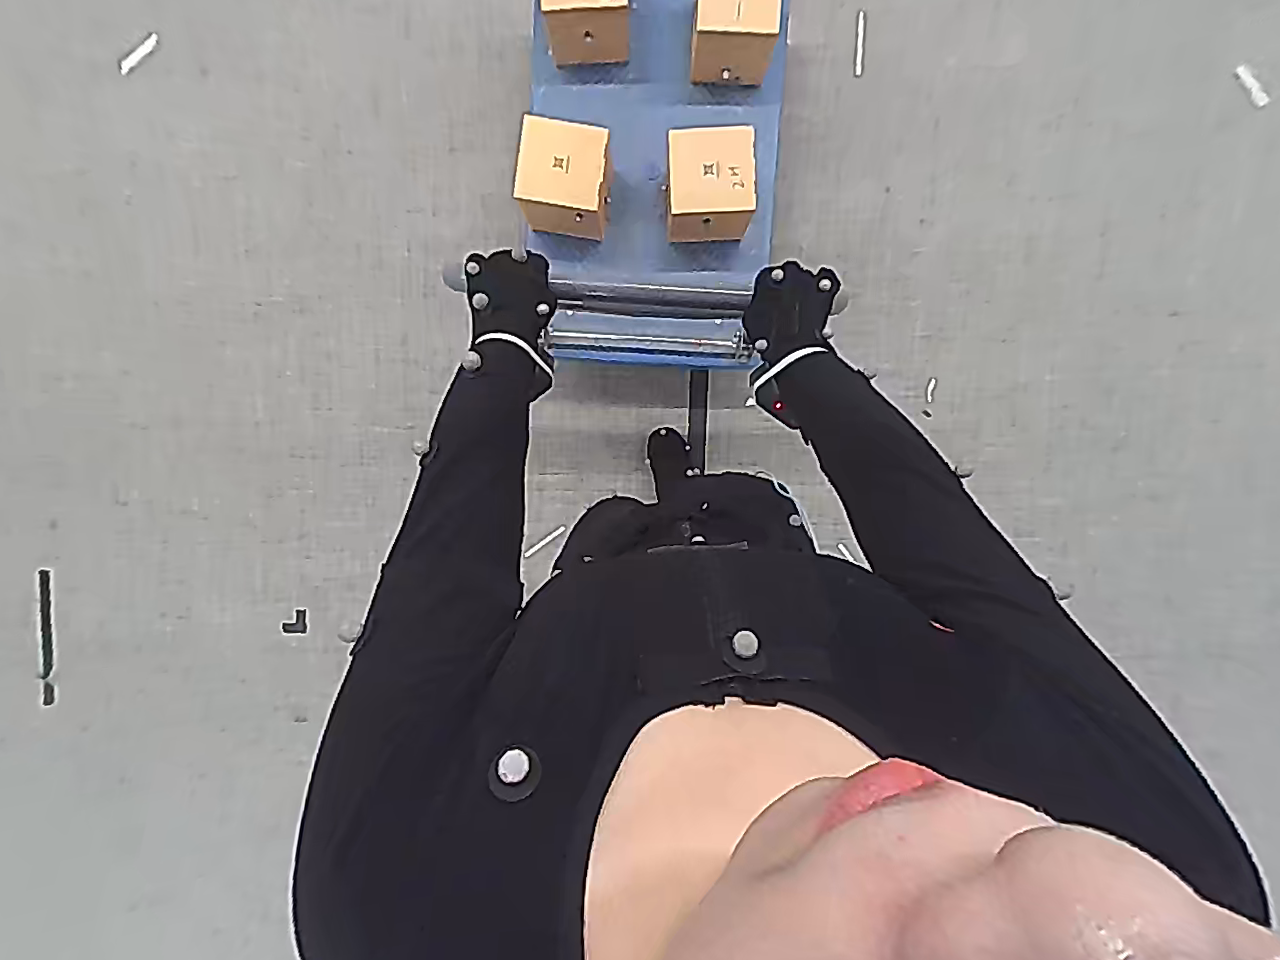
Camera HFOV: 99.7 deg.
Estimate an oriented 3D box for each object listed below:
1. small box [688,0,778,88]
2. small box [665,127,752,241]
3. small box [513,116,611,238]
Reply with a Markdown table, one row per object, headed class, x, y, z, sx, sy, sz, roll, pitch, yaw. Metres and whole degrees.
| class | x | y | z | sx | sy | sz | roll | pitch | yaw |
| --- | --- | --- | --- | --- | --- | --- | --- | --- | --- |
| small box | 0.194 | -0.982 | 1.148 | 0.168 | 0.176 | 0.179 | 3 | 96 | 0 |
| small box | 0.142 | -0.635 | 1.179 | 0.179 | 0.176 | 0.168 | -2 | 95 | 1 |
| small box | -0.164 | -0.650 | 1.180 | 0.179 | 0.176 | 0.168 | 9 | 94 | -2 |
